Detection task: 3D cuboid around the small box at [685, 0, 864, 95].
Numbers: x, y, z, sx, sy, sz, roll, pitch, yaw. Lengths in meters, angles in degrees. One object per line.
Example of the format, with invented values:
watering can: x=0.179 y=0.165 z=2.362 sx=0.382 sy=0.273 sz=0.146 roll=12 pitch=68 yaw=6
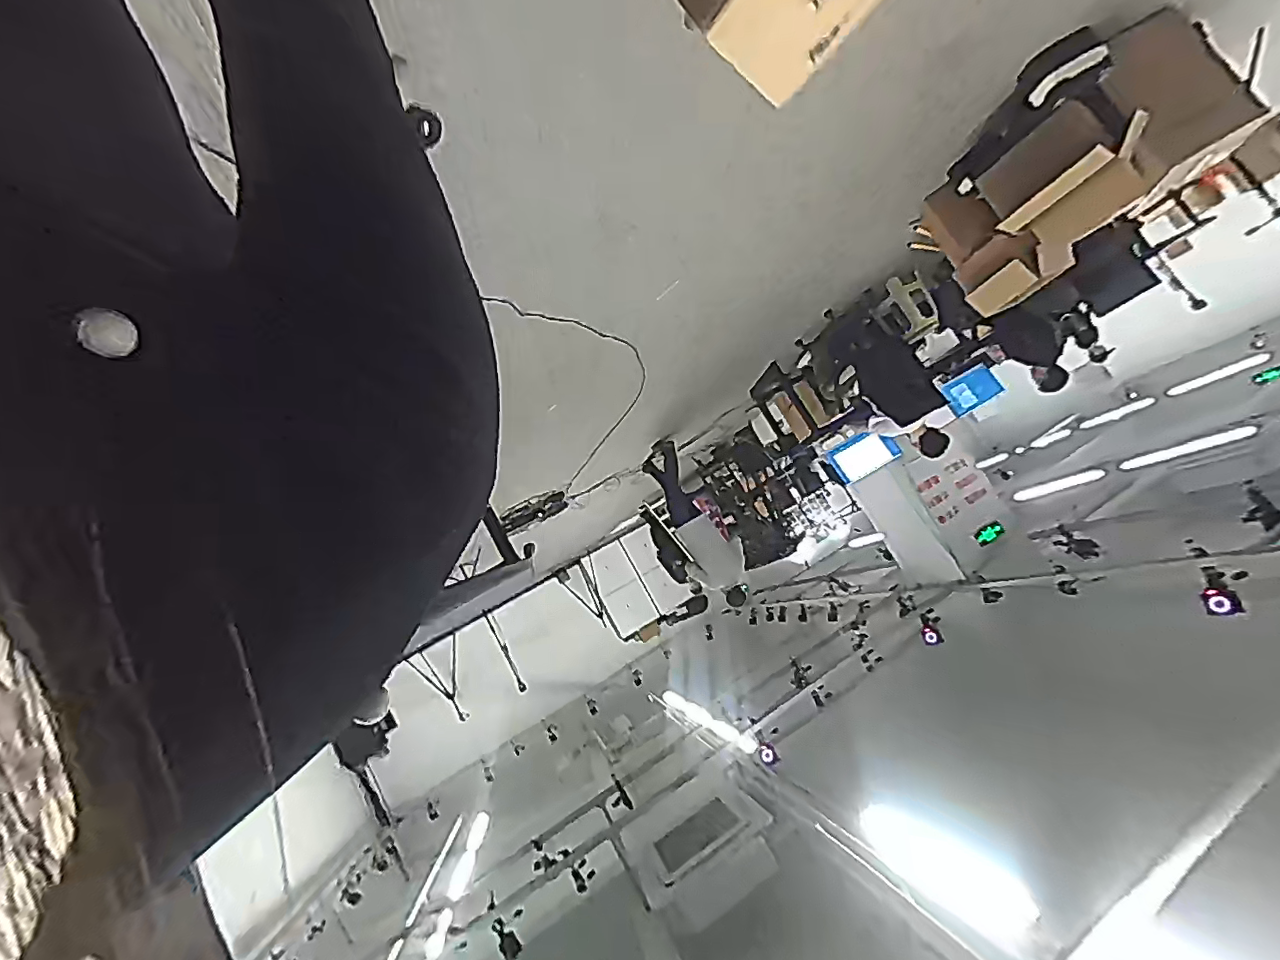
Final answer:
small box: x=0.105 y=-0.485 z=0.456 sx=0.179 sy=0.176 sz=0.168 roll=-22 pitch=165 yaw=-50
